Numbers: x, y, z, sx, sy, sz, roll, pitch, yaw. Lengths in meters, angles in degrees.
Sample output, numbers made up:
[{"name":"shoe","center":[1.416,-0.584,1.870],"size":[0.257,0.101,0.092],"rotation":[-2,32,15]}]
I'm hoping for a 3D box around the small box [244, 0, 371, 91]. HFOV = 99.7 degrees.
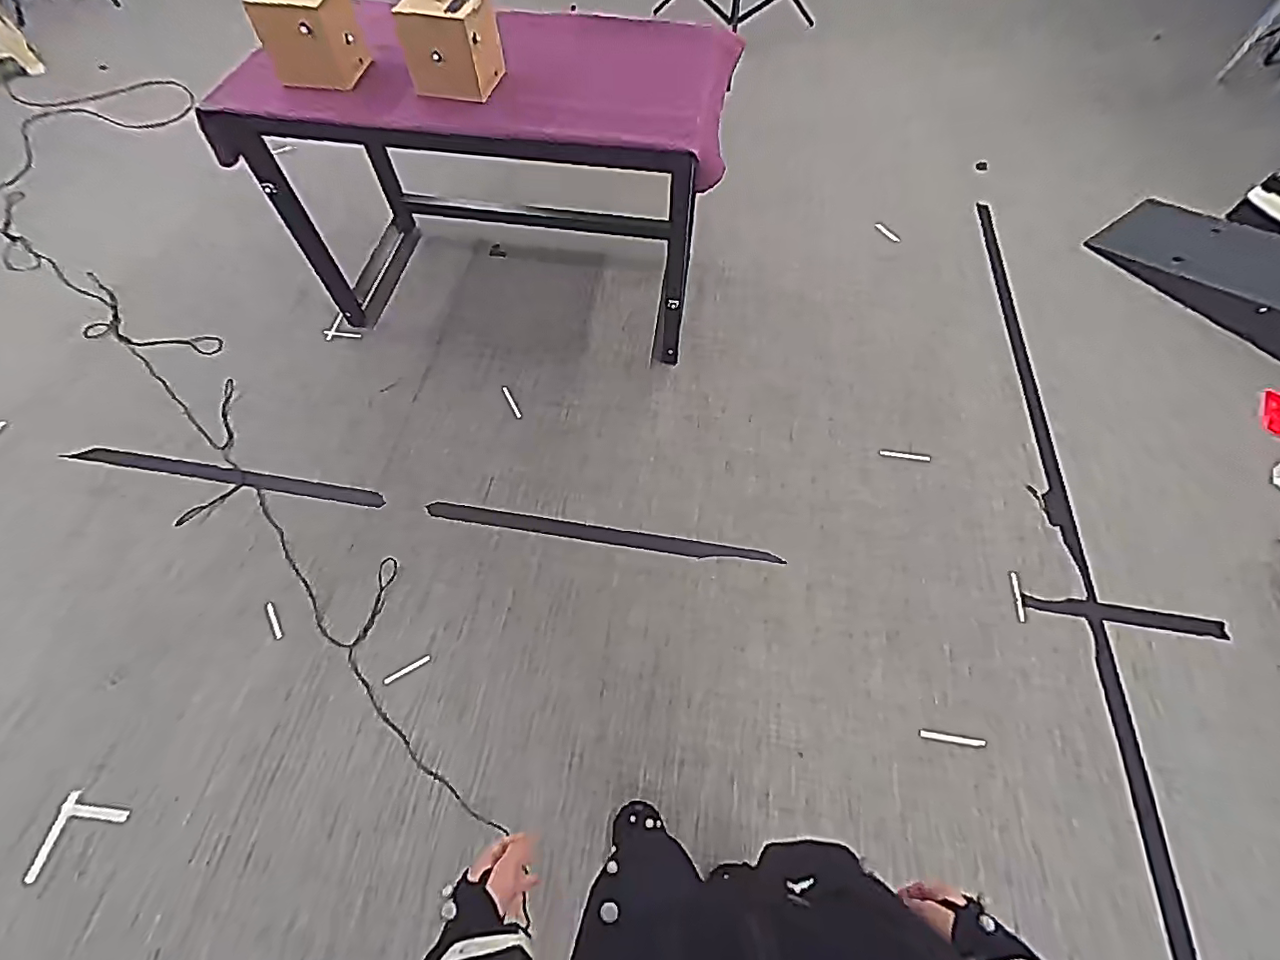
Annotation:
[{"name":"small box","center":[-0.786,-1.070,1.303],"size":[0.179,0.176,0.168],"rotation":[5,59,3]}]
